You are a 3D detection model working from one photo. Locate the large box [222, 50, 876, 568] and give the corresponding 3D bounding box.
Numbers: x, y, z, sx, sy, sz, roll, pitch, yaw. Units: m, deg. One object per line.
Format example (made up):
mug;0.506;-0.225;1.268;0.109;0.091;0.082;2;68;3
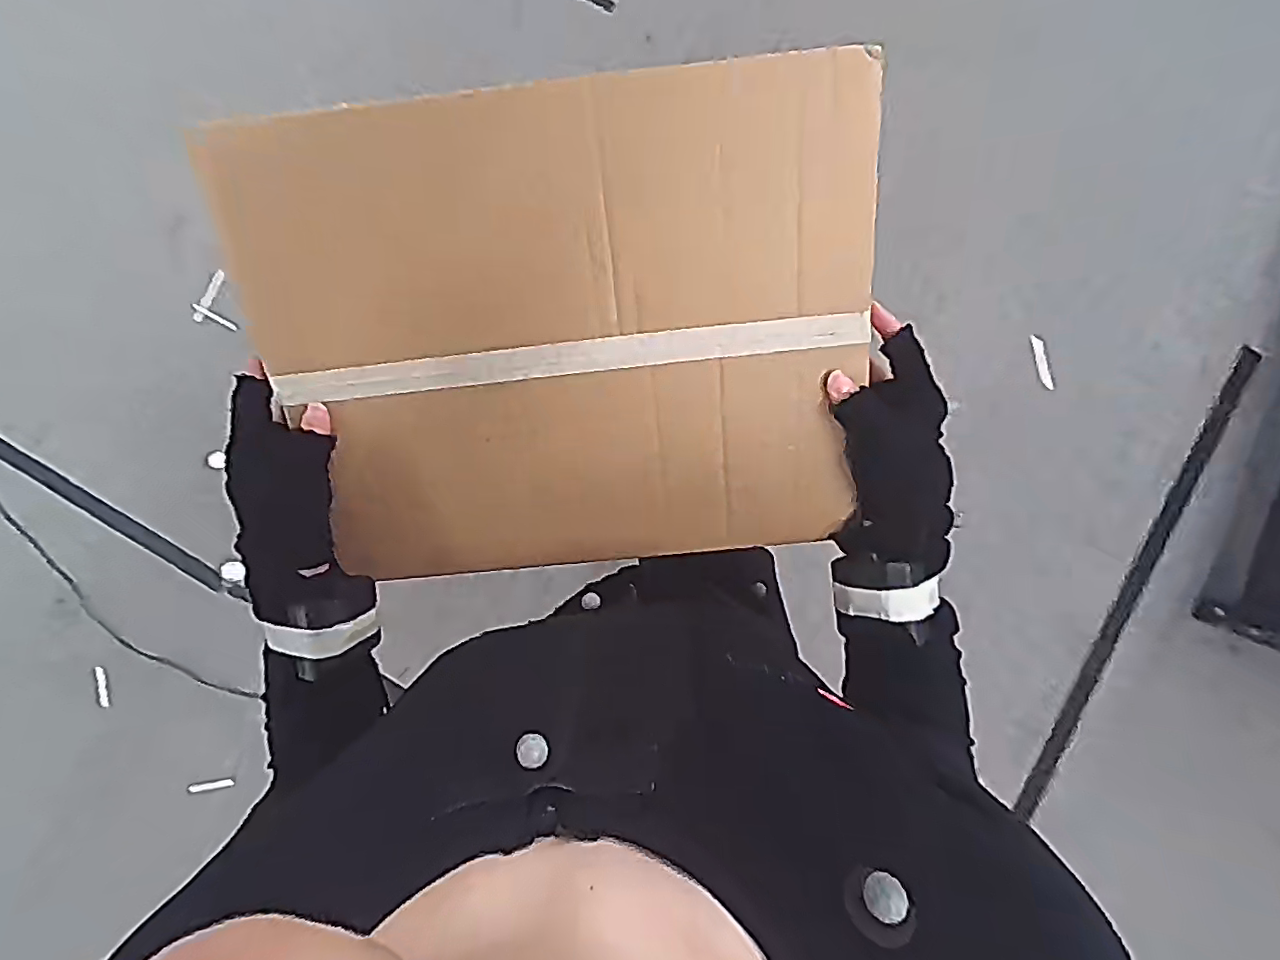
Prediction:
large box;-0.047;-0.143;0.513;0.408;0.320;0.320;-5;112;1
